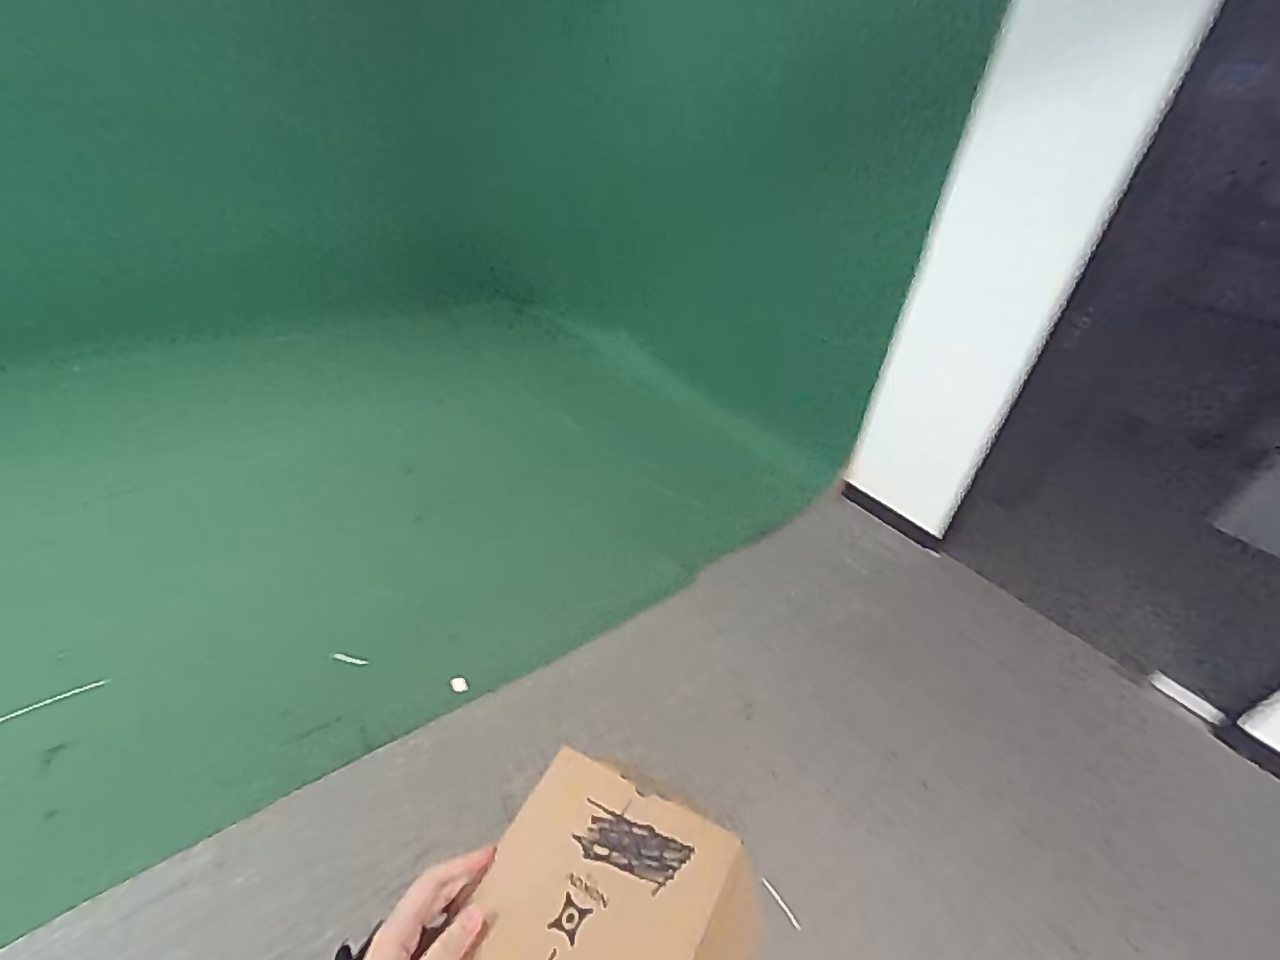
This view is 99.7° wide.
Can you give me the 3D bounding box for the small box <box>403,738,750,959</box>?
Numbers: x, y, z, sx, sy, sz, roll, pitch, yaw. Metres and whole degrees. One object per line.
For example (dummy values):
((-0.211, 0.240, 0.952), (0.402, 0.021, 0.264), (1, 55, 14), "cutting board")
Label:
((-0.027, 0.340, 0.400), (0.168, 0.176, 0.179), (8, 38, 33), "small box")
